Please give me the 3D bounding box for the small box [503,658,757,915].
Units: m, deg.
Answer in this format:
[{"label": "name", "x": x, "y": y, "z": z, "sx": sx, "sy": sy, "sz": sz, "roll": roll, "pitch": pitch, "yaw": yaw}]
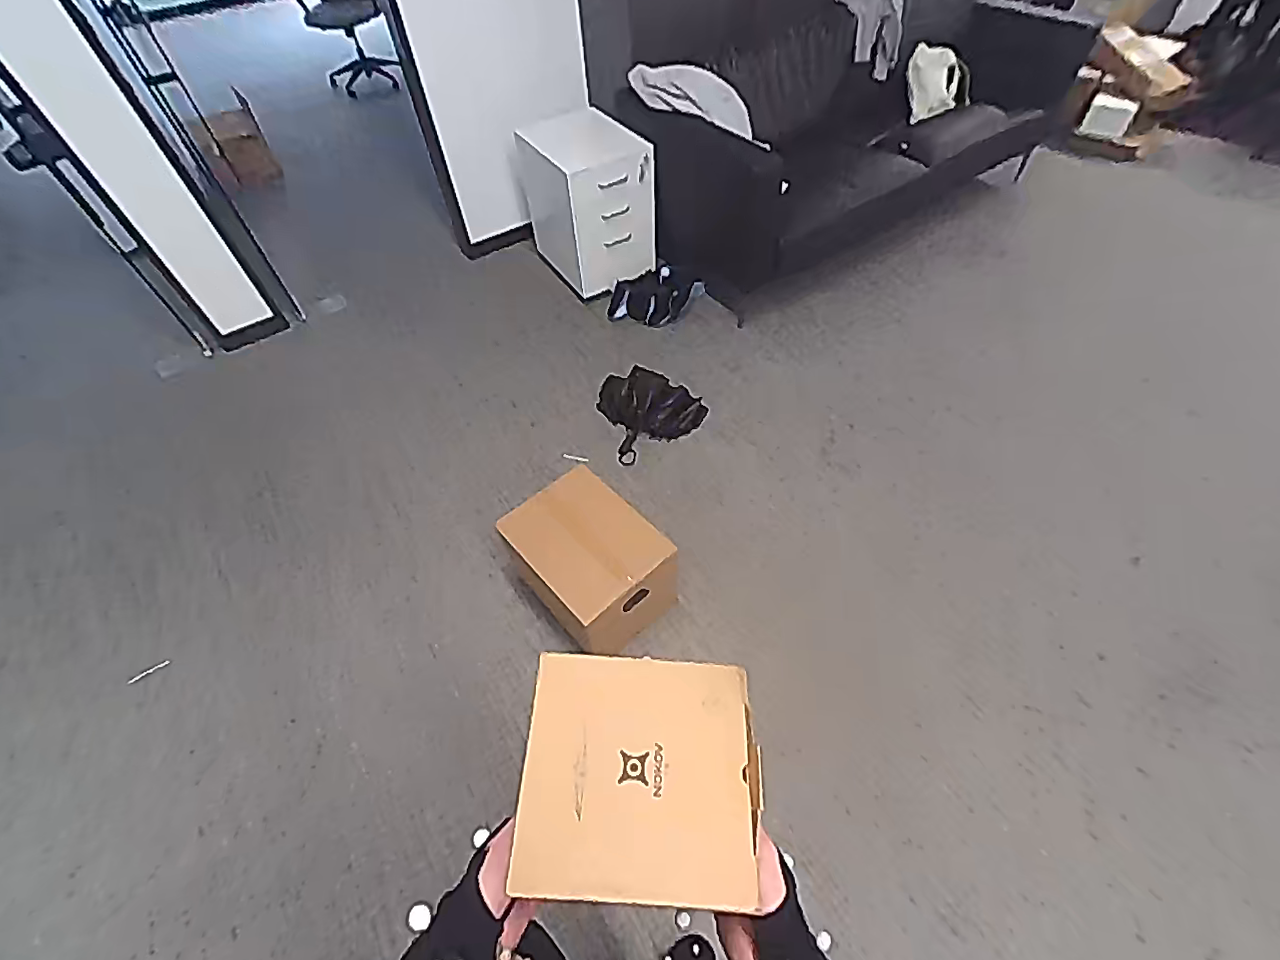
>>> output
[{"label": "small box", "x": -0.006, "y": 0.269, "z": 0.476, "sx": 0.179, "sy": 0.176, "sz": 0.168, "roll": 3, "pitch": 53, "yaw": 0}]
